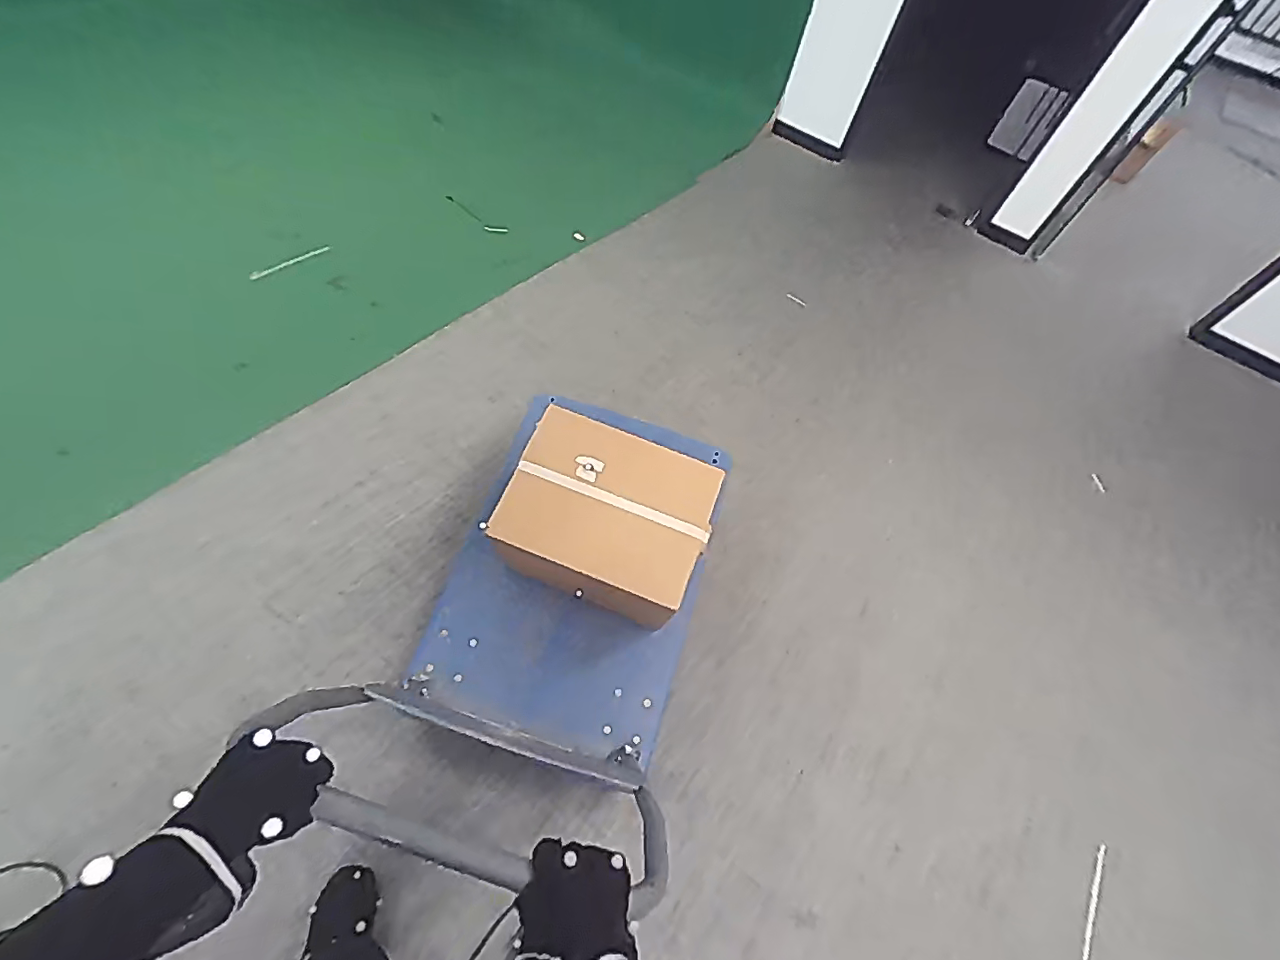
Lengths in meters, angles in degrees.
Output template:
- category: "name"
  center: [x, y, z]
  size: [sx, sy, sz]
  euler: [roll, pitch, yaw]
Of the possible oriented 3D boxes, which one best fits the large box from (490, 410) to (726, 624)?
- category: "large box"
  center: [-0.061, 0.100, 1.221]
  size: [0.408, 0.320, 0.320]
  euler: [21, 68, 5]
